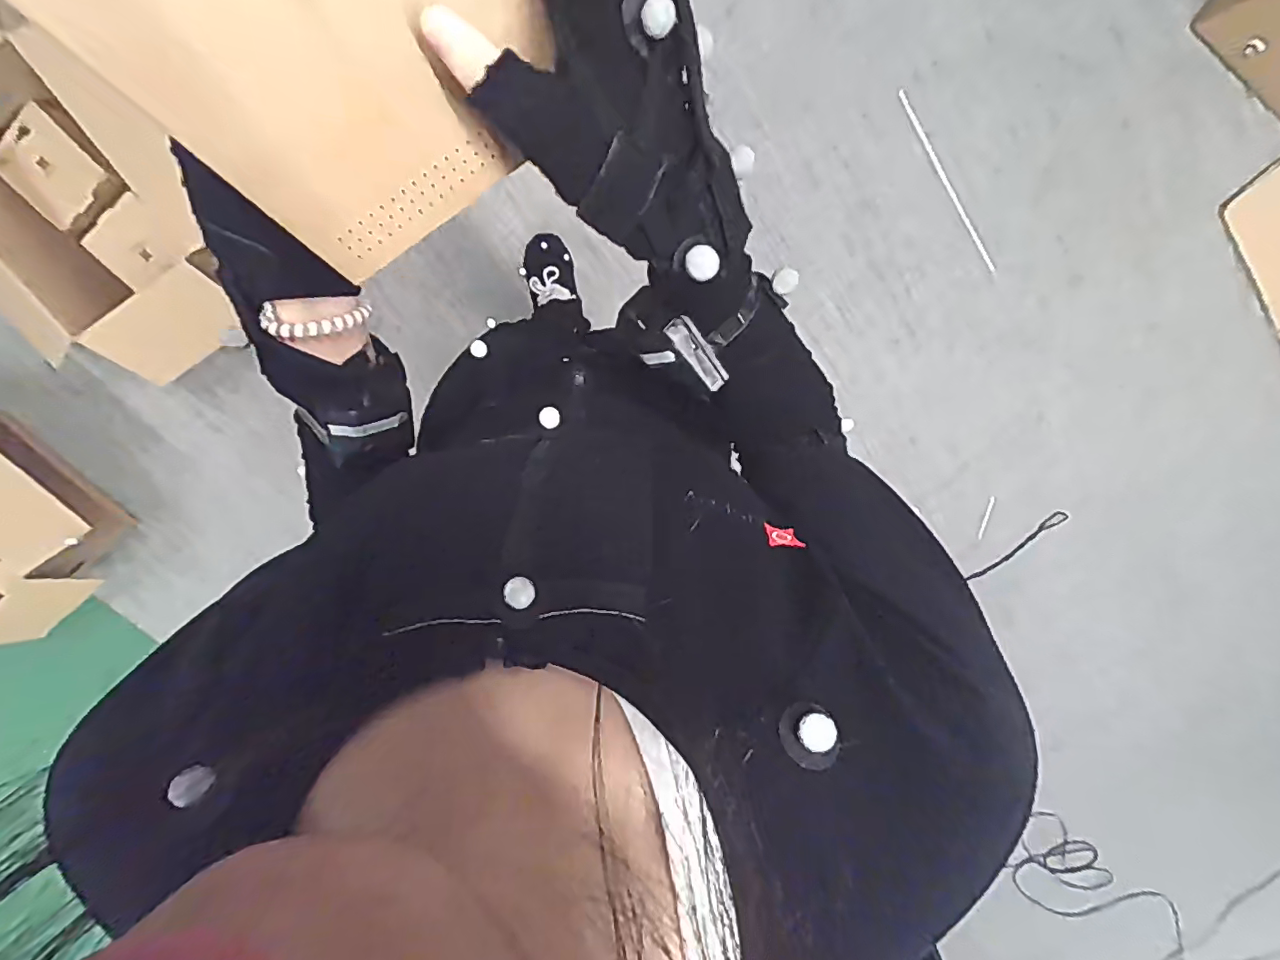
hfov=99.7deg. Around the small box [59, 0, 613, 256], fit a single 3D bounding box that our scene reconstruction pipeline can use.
[{"bbox_3d":[-0.138,-0.240,0.235,0.179,0.176,0.168,-34,69,3],"label":"small box"}]
